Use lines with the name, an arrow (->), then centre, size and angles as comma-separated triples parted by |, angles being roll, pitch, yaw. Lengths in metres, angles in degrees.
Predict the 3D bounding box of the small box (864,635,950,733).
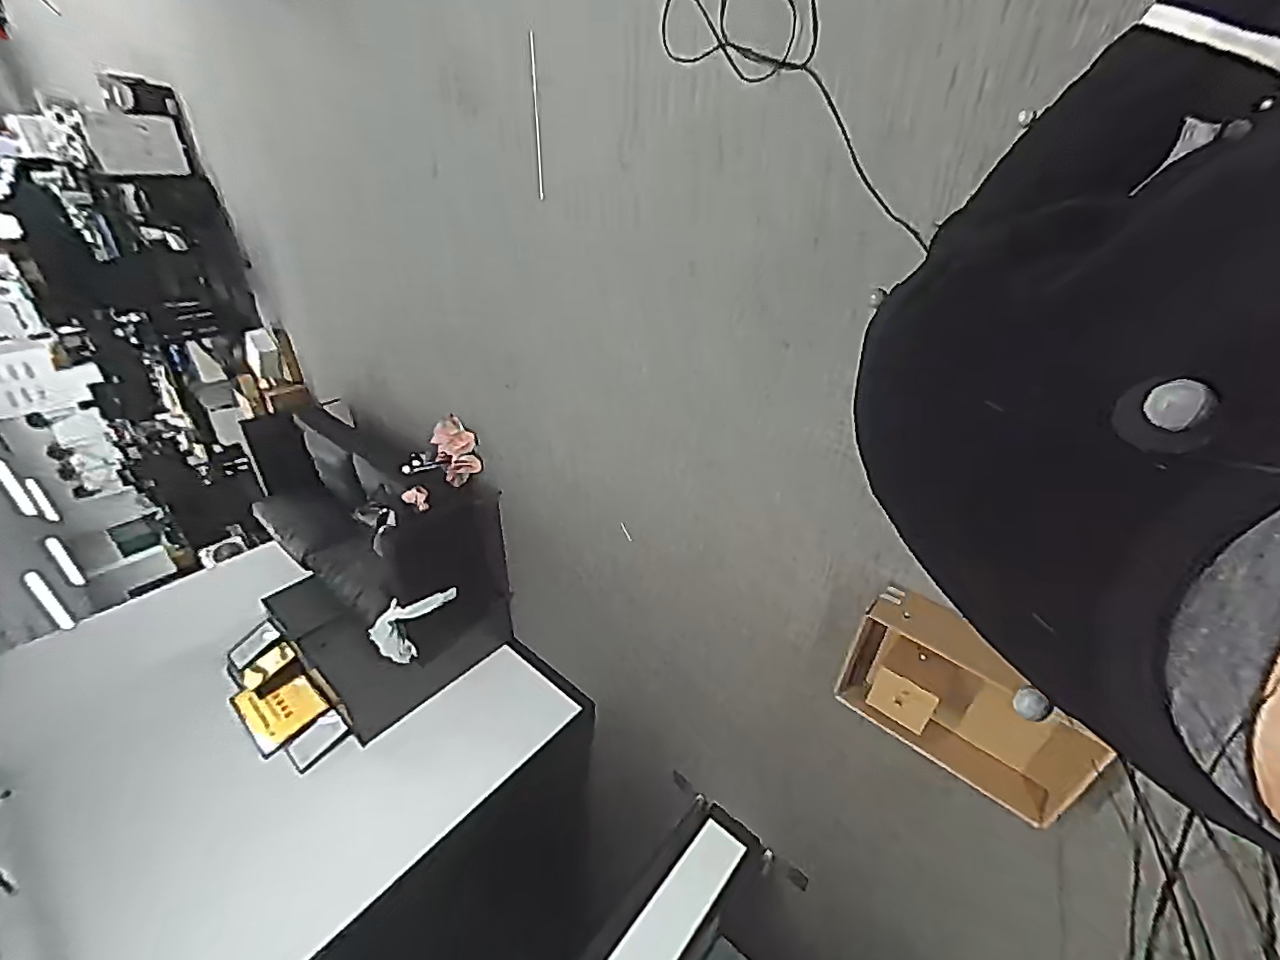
small box -> 0.809, 0.611, 1.633 | 0.168, 0.176, 0.179 | 27, 128, 31
